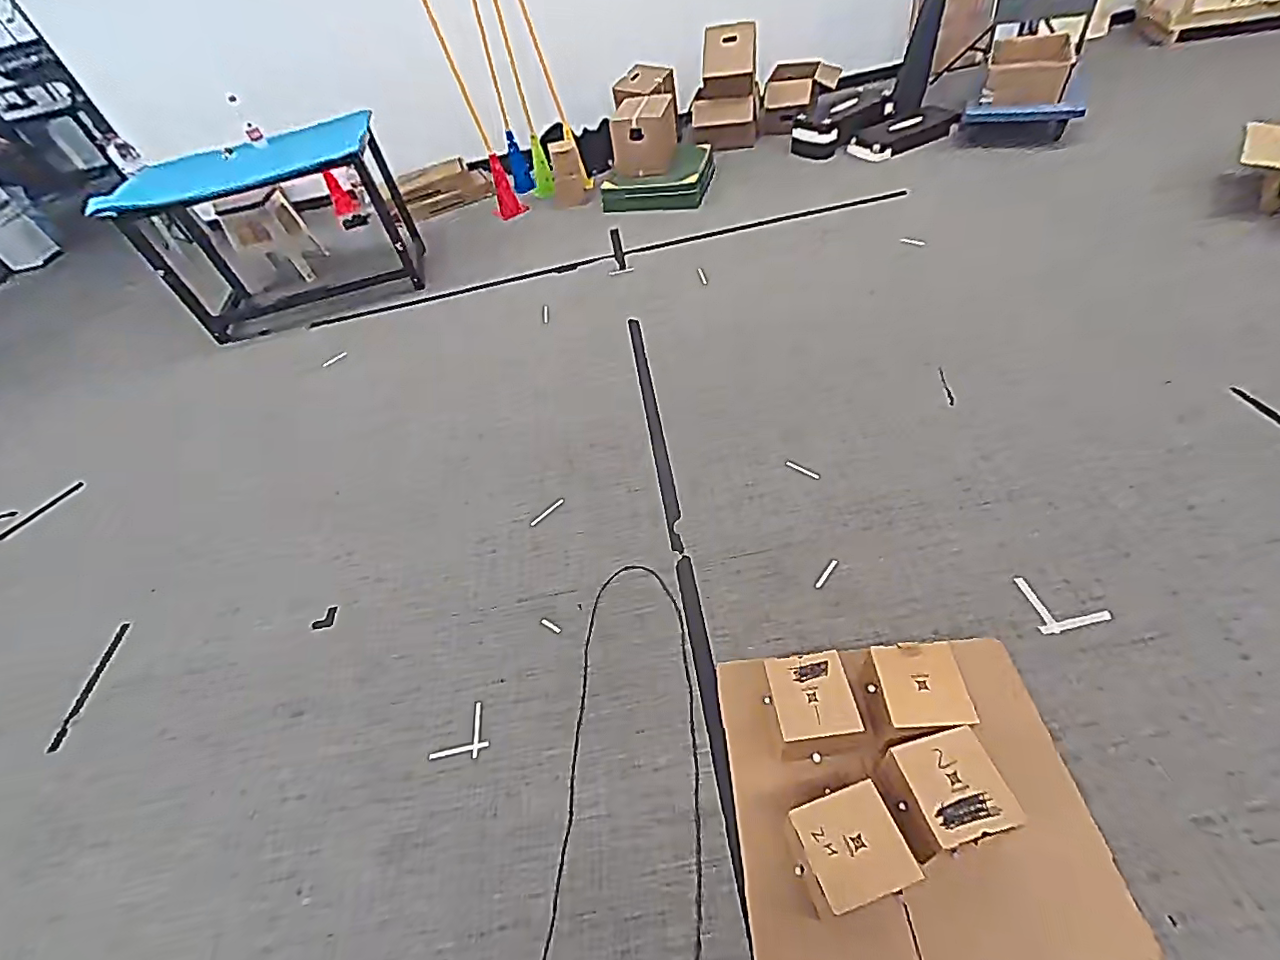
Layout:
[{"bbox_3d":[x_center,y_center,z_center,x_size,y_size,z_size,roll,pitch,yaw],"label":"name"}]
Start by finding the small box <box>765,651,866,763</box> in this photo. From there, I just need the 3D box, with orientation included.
[{"bbox_3d":[0.381,0.508,1.209,0.168,0.176,0.179,-9,48,3],"label":"small box"}]

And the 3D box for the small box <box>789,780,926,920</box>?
[{"bbox_3d":[0.399,0.703,1.028,0.179,0.176,0.168,-18,46,-5],"label":"small box"}]
